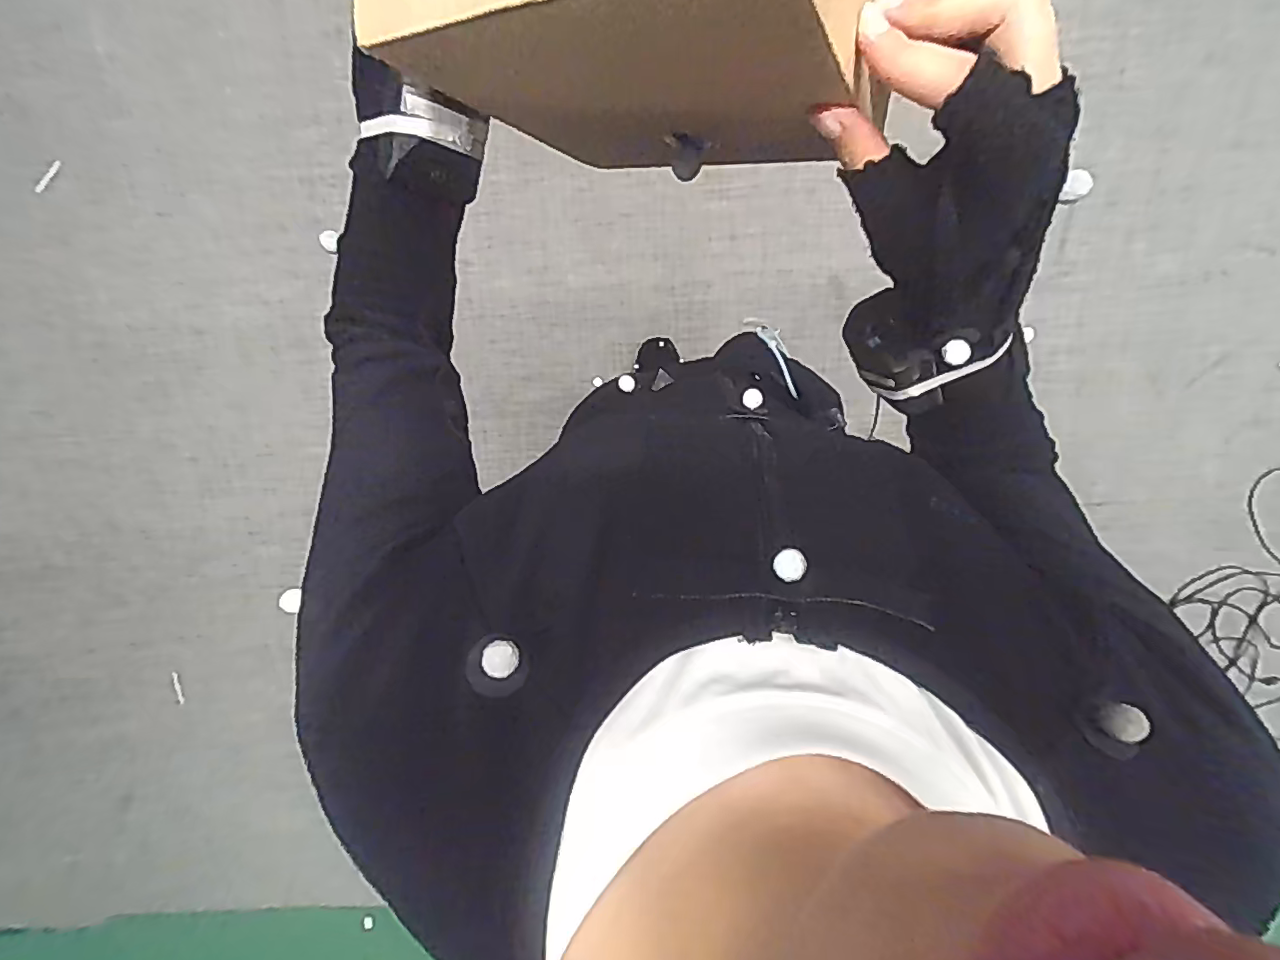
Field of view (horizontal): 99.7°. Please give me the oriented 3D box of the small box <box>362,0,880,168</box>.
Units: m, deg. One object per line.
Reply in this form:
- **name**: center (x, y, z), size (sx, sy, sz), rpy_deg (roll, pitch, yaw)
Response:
- **small box**: center (0.010, -0.248, 0.230), size (0.179, 0.176, 0.168), rpy_deg (15, 108, 27)
